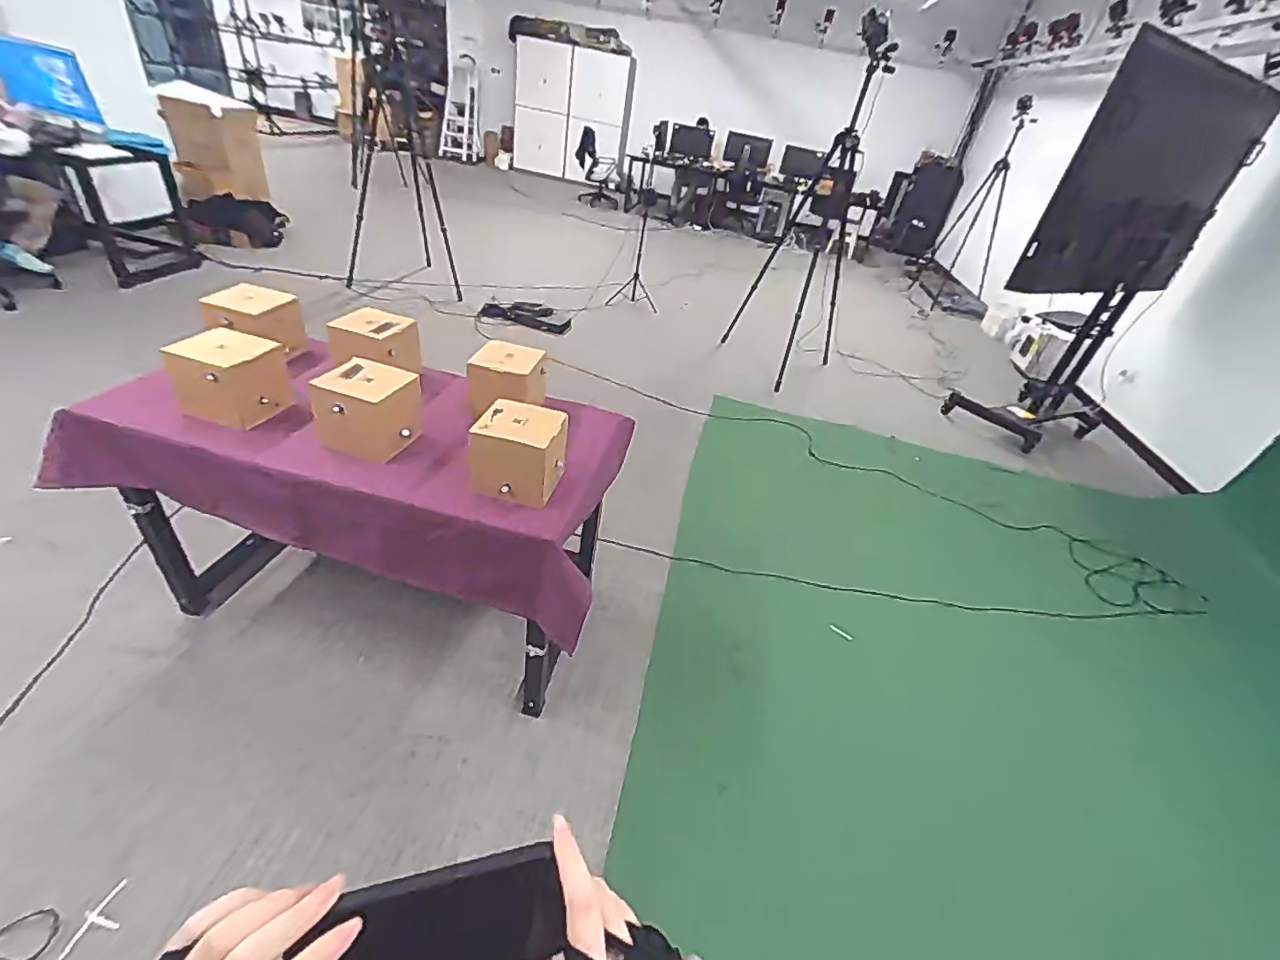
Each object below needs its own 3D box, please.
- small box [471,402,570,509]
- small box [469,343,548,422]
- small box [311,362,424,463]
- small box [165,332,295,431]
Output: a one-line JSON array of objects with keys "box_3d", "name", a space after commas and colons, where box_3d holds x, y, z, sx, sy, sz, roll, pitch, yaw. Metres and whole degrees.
[{"box_3d": [-0.276, -0.054, 1.258, 0.179, 0.176, 0.168, 14, 35, 4], "name": "small box"}, {"box_3d": [-0.368, -0.261, 1.520, 0.168, 0.176, 0.179, 12, 36, 3], "name": "small box"}, {"box_3d": [-0.649, -0.161, 1.308, 0.179, 0.176, 0.168, 17, 36, 7], "name": "small box"}, {"box_3d": [-0.992, -0.240, 1.325, 0.179, 0.176, 0.168, 16, 35, 5], "name": "small box"}]
